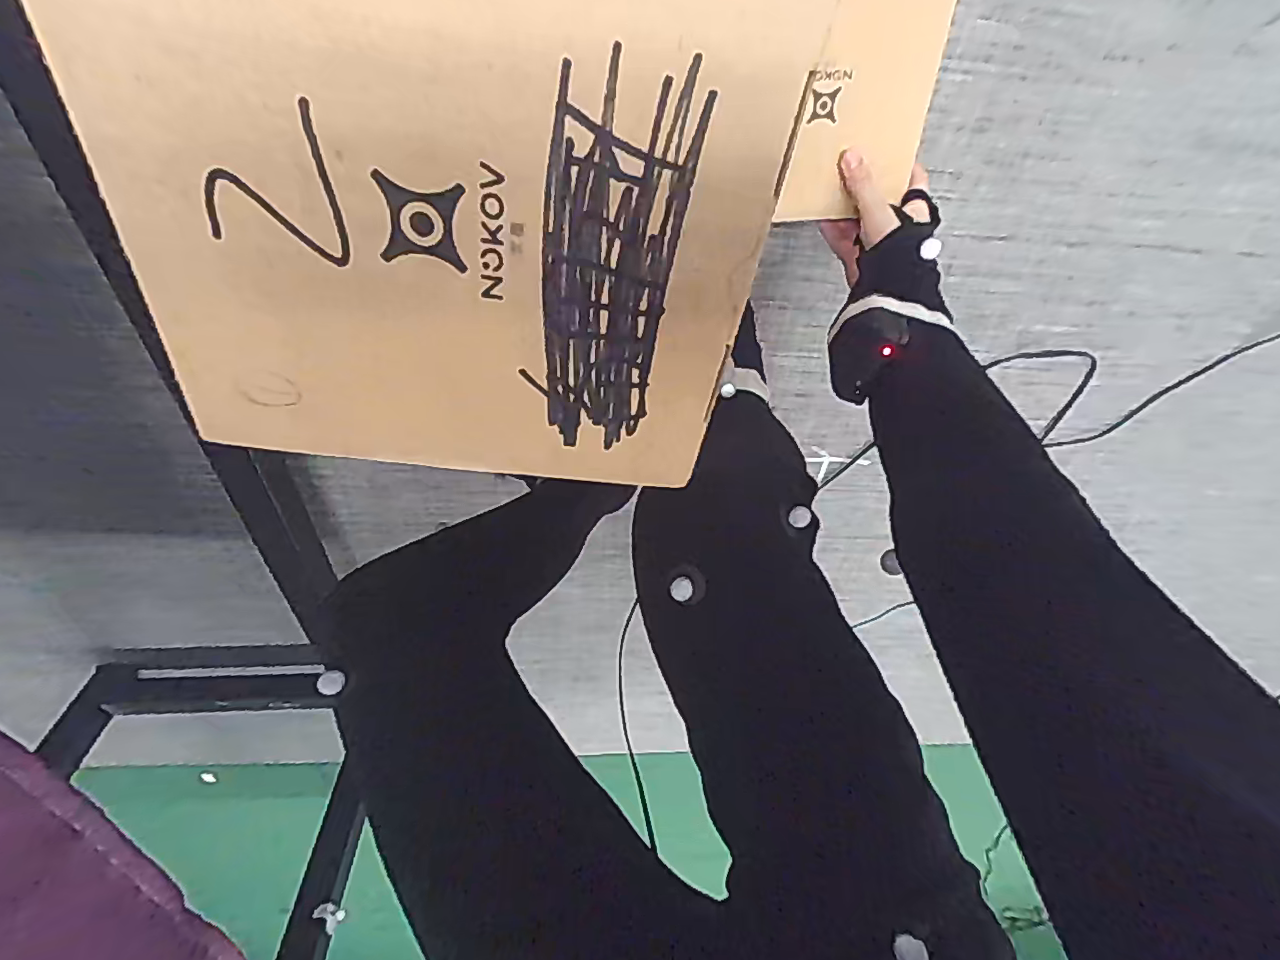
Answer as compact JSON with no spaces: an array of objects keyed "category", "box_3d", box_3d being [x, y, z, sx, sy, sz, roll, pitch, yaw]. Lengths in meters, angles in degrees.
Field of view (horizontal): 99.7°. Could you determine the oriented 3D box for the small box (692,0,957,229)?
[{"category":"small box","box_3d":[0.137,-0.338,0.473,0.168,0.176,0.179,-3,130,-1]}]
